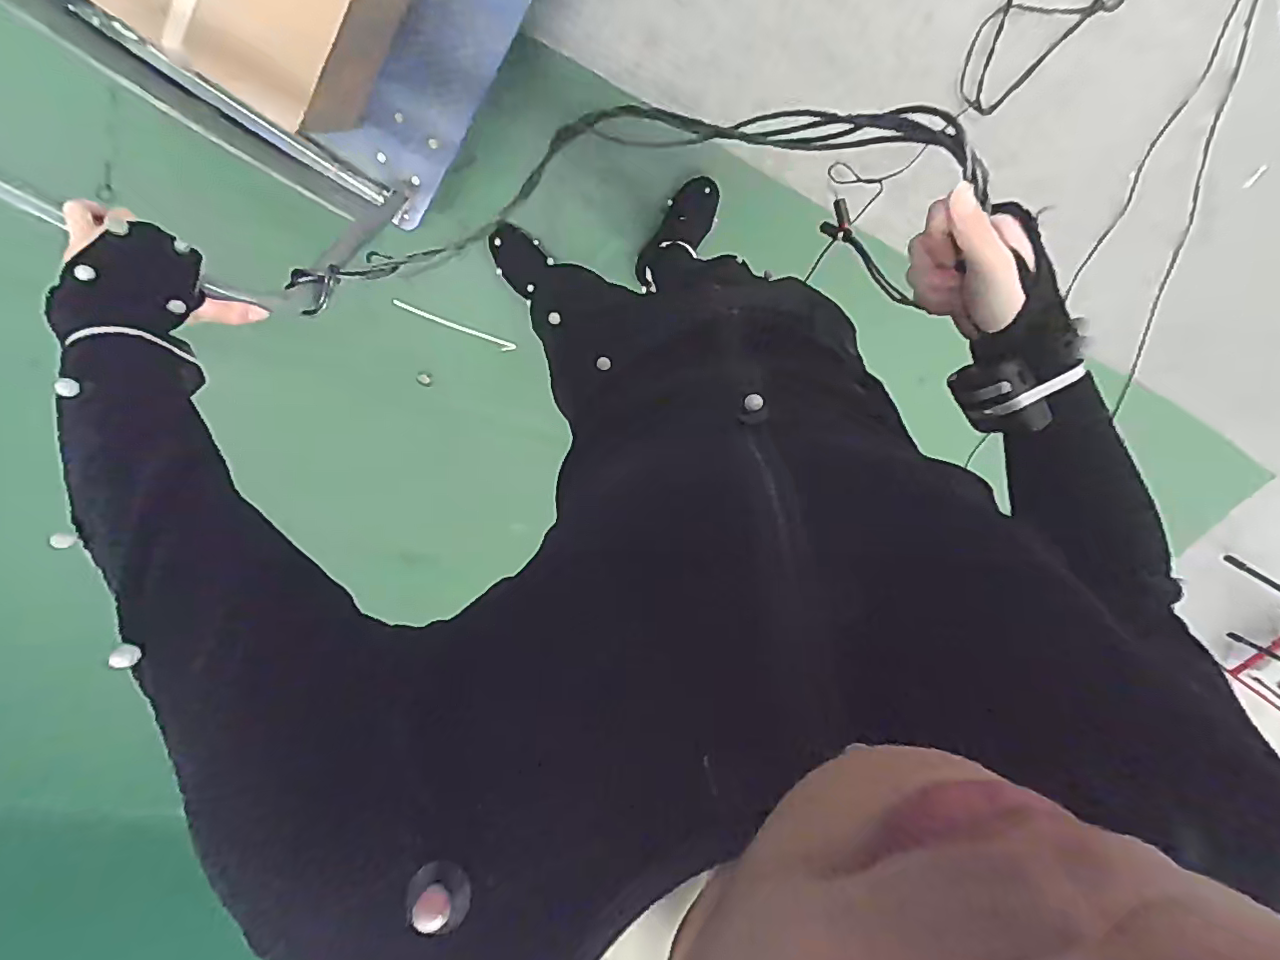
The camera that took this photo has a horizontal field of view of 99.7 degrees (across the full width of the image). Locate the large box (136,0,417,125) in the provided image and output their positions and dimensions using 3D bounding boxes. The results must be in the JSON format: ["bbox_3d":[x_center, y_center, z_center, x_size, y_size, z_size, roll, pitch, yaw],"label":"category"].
[{"bbox_3d":[-0.506,-0.806,0.773,0.320,0.320,0.408,29,111,-27],"label":"large box"}]
